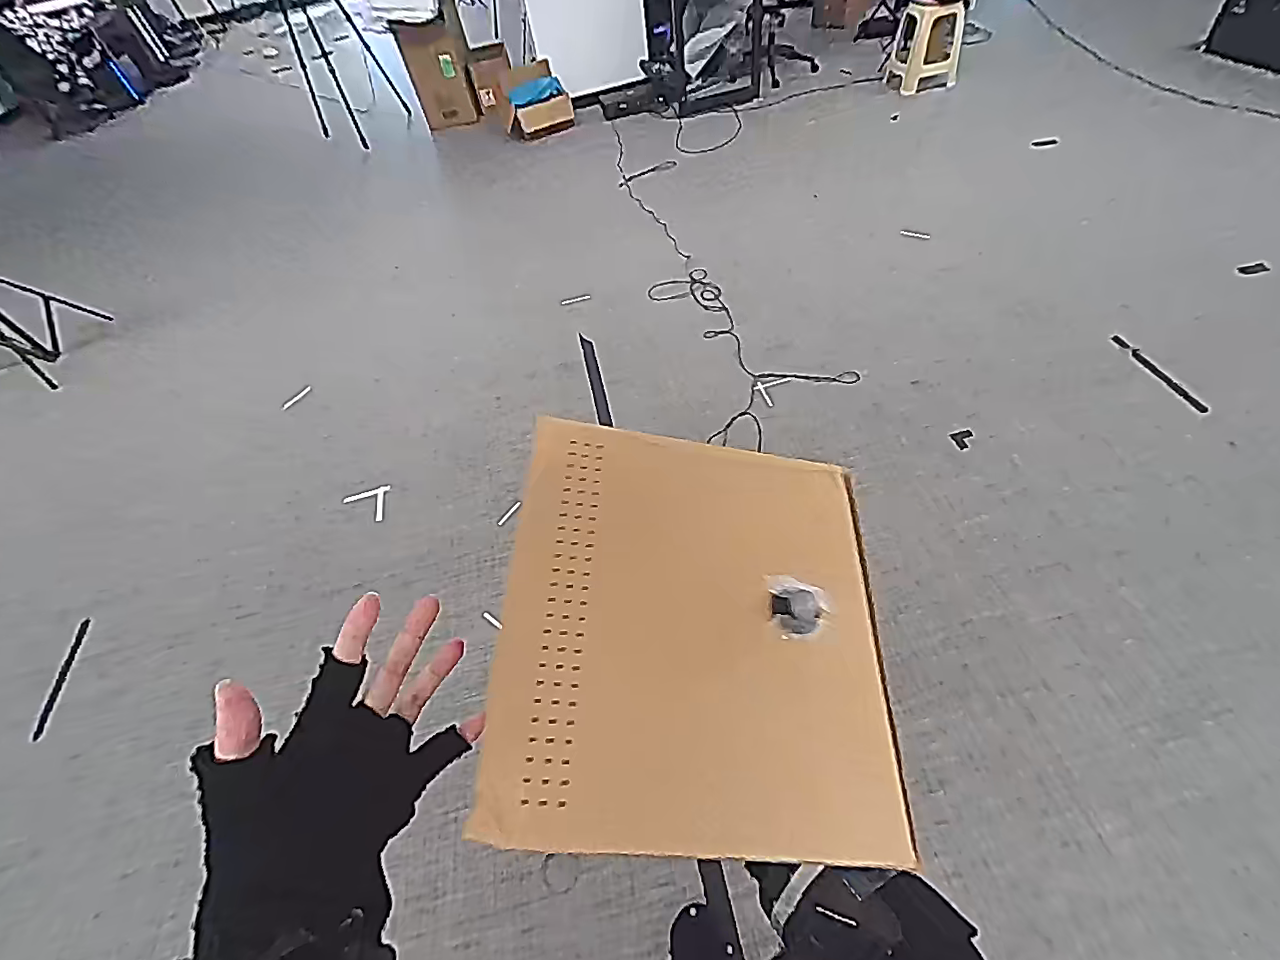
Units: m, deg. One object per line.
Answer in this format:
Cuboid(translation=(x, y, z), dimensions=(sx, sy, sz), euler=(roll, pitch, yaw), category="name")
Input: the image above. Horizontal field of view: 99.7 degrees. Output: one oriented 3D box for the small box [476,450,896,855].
Cuboid(translation=(0.008, 0.102, 0.310), dimensions=(0.176, 0.168, 0.179), euler=(10, 58, -8), category="small box")
